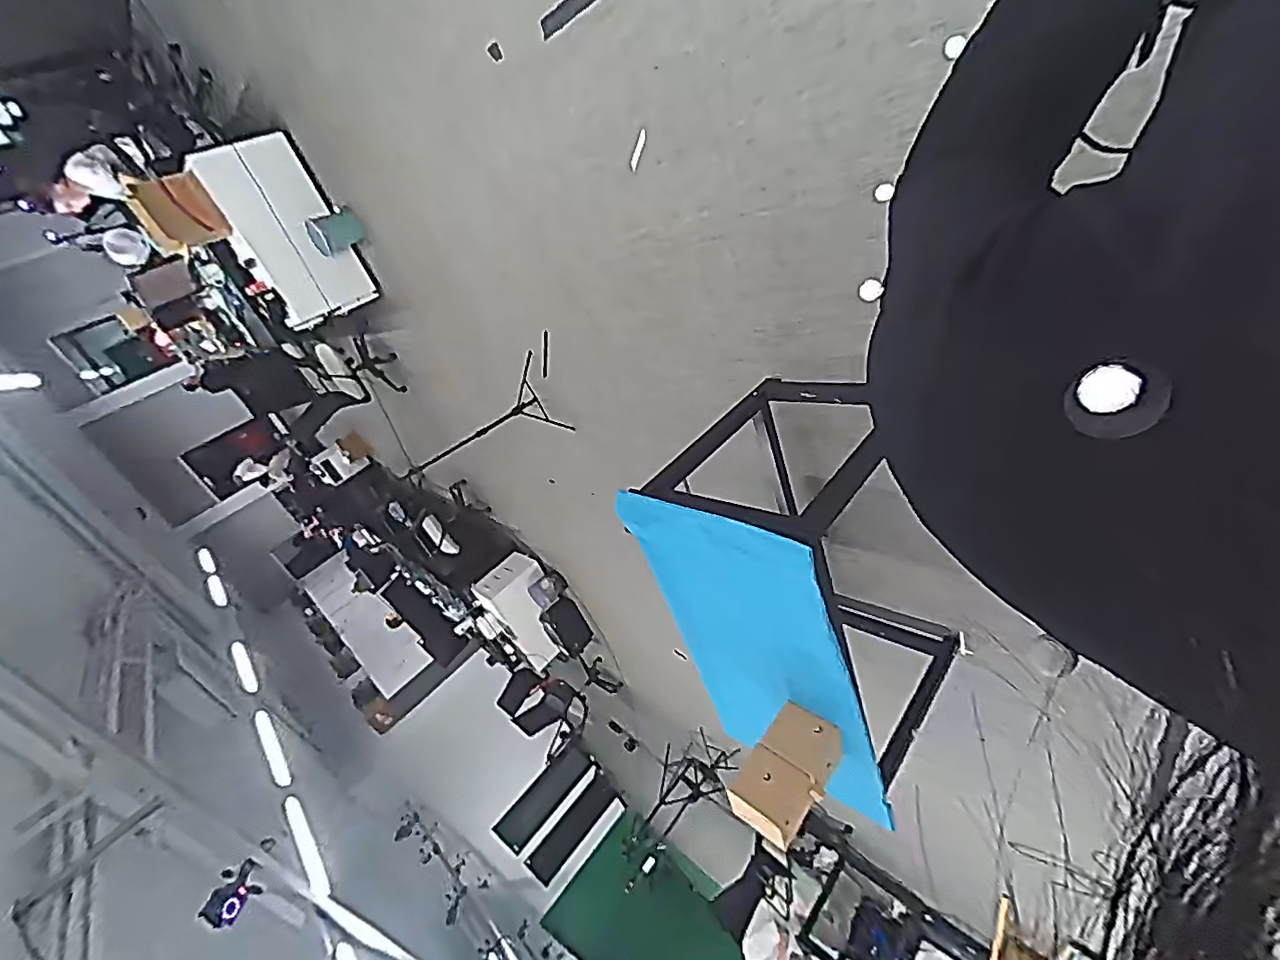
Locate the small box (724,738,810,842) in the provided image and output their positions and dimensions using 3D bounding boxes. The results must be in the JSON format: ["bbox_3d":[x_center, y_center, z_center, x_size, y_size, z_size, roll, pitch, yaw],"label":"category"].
[{"bbox_3d":[0.375,0.910,1.584,0.179,0.176,0.168,18,138,39],"label":"small box"}]

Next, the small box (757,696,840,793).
[{"bbox_3d":[0.487,0.811,1.654,0.179,0.176,0.168,16,137,43],"label":"small box"}]
